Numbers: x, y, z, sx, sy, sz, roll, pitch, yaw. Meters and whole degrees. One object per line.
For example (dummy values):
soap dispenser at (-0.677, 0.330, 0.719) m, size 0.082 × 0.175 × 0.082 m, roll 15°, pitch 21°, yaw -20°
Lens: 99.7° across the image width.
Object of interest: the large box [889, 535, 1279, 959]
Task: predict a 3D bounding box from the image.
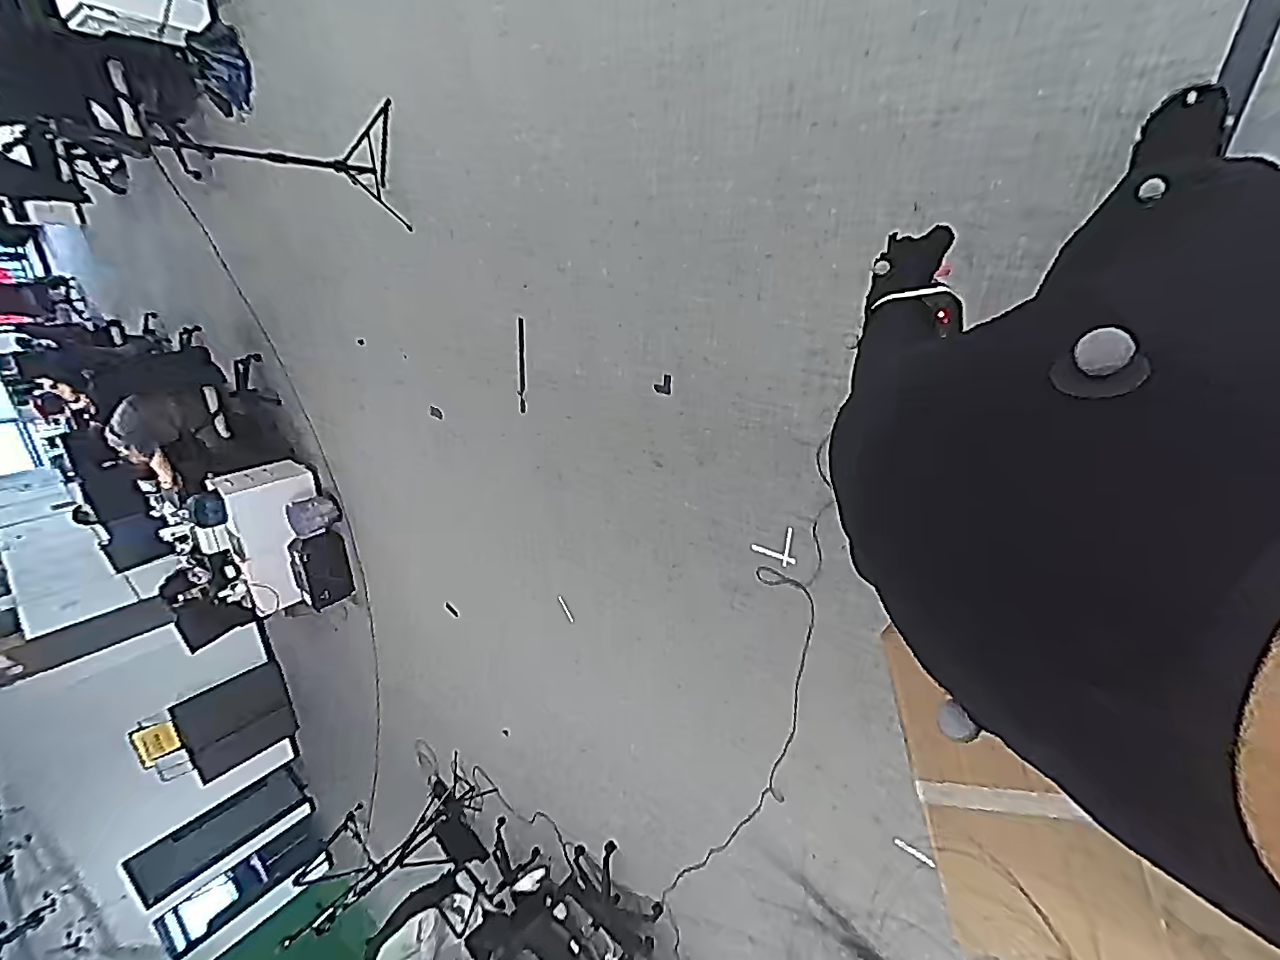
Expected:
large box at (0.541, 0.248, 0.583) m, size 0.408 × 0.320 × 0.320 m, roll -14°, pitch 84°, yaw 35°
